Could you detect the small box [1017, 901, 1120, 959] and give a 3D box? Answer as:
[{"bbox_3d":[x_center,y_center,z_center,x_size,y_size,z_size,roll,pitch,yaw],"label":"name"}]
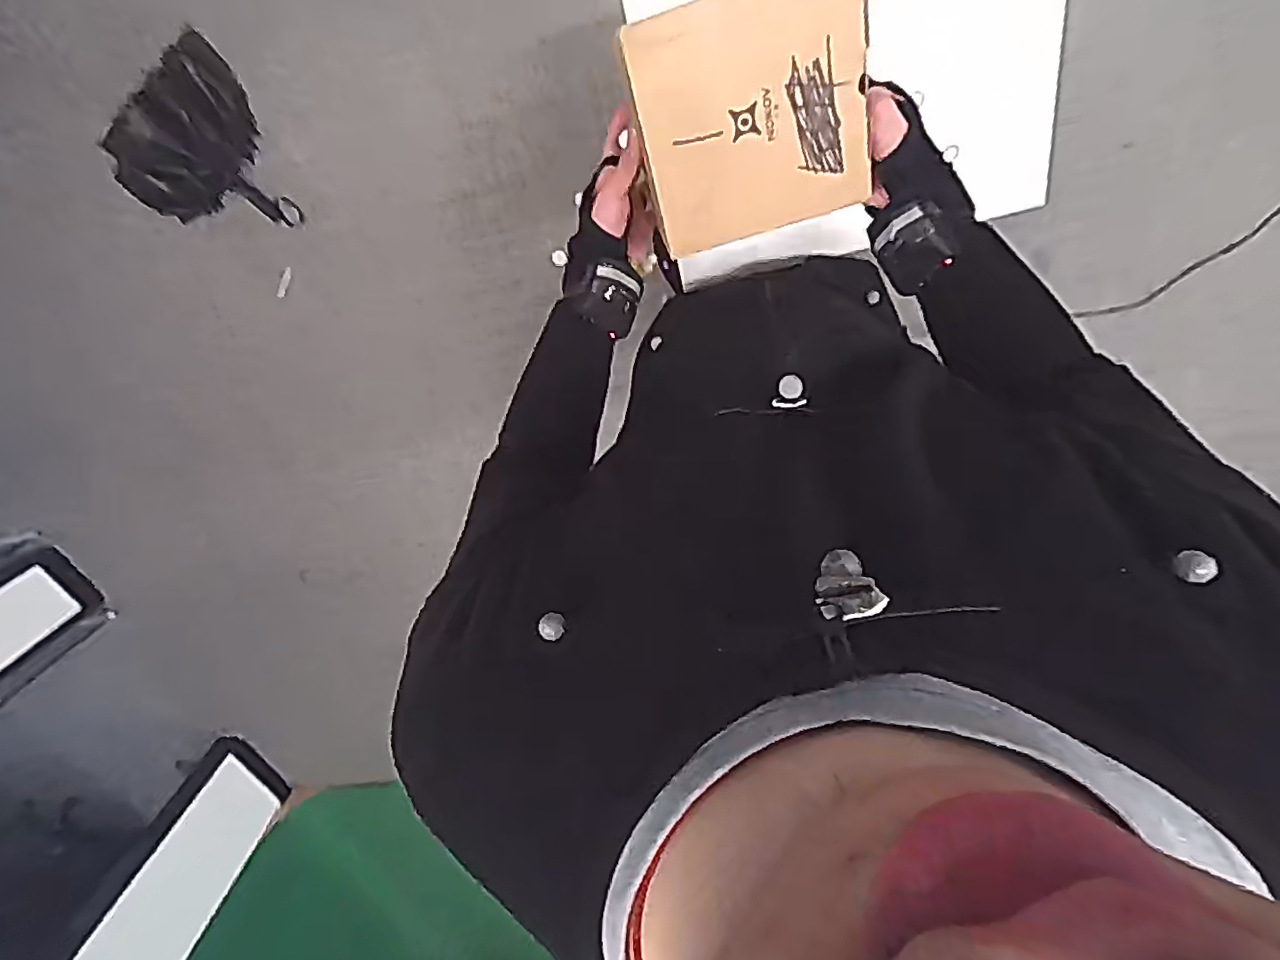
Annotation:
[{"bbox_3d":[1.158,1.266,1.454,0.179,0.176,0.168,-9,119,13],"label":"small box"}]
